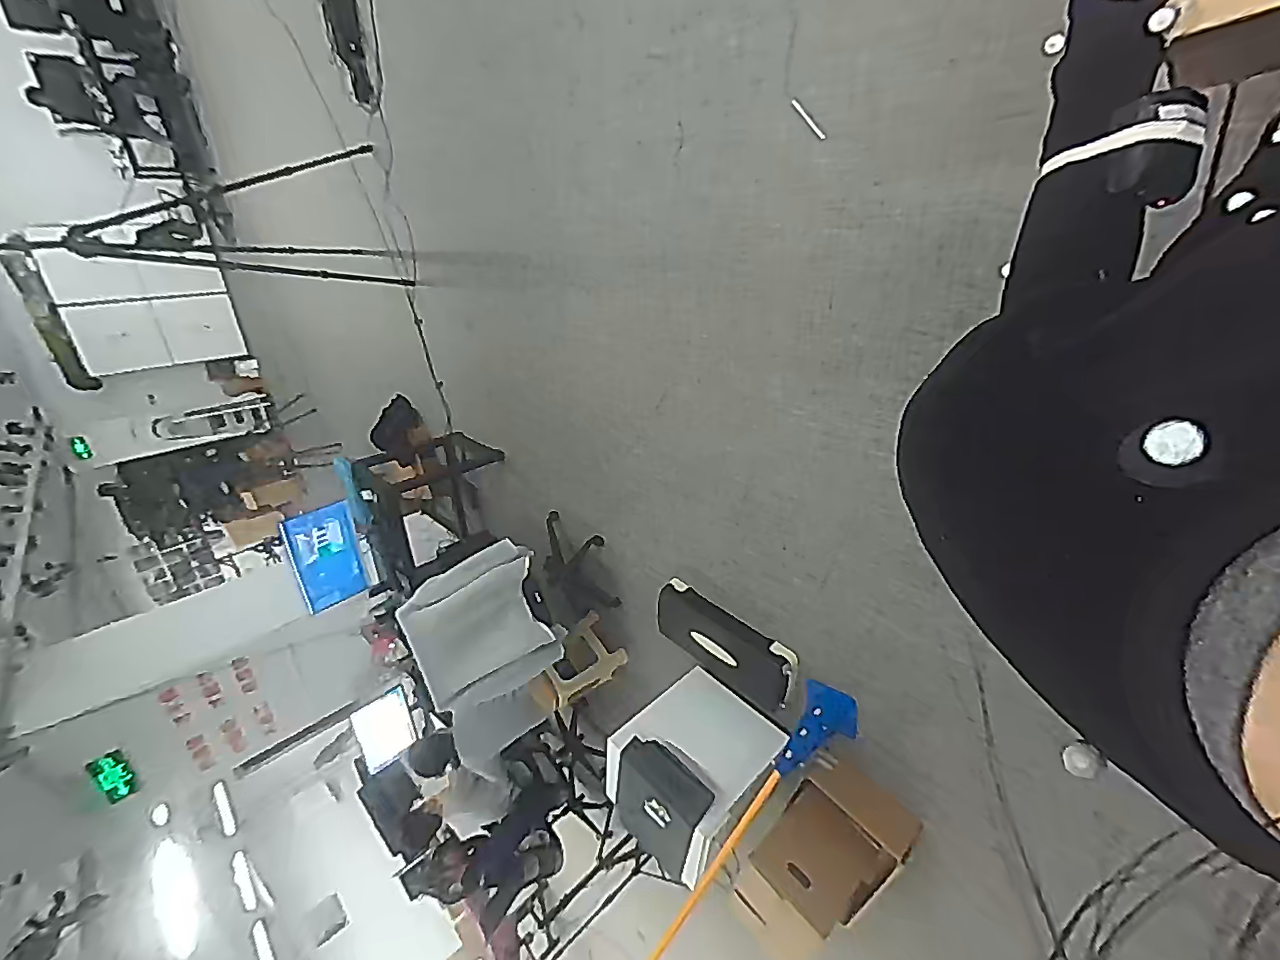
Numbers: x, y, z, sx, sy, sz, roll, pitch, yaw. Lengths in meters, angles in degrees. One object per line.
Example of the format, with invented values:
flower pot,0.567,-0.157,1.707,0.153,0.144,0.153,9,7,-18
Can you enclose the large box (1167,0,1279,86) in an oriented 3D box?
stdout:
large box,0.568,-0.462,0.269,0.408,0.320,0.320,10,116,43
